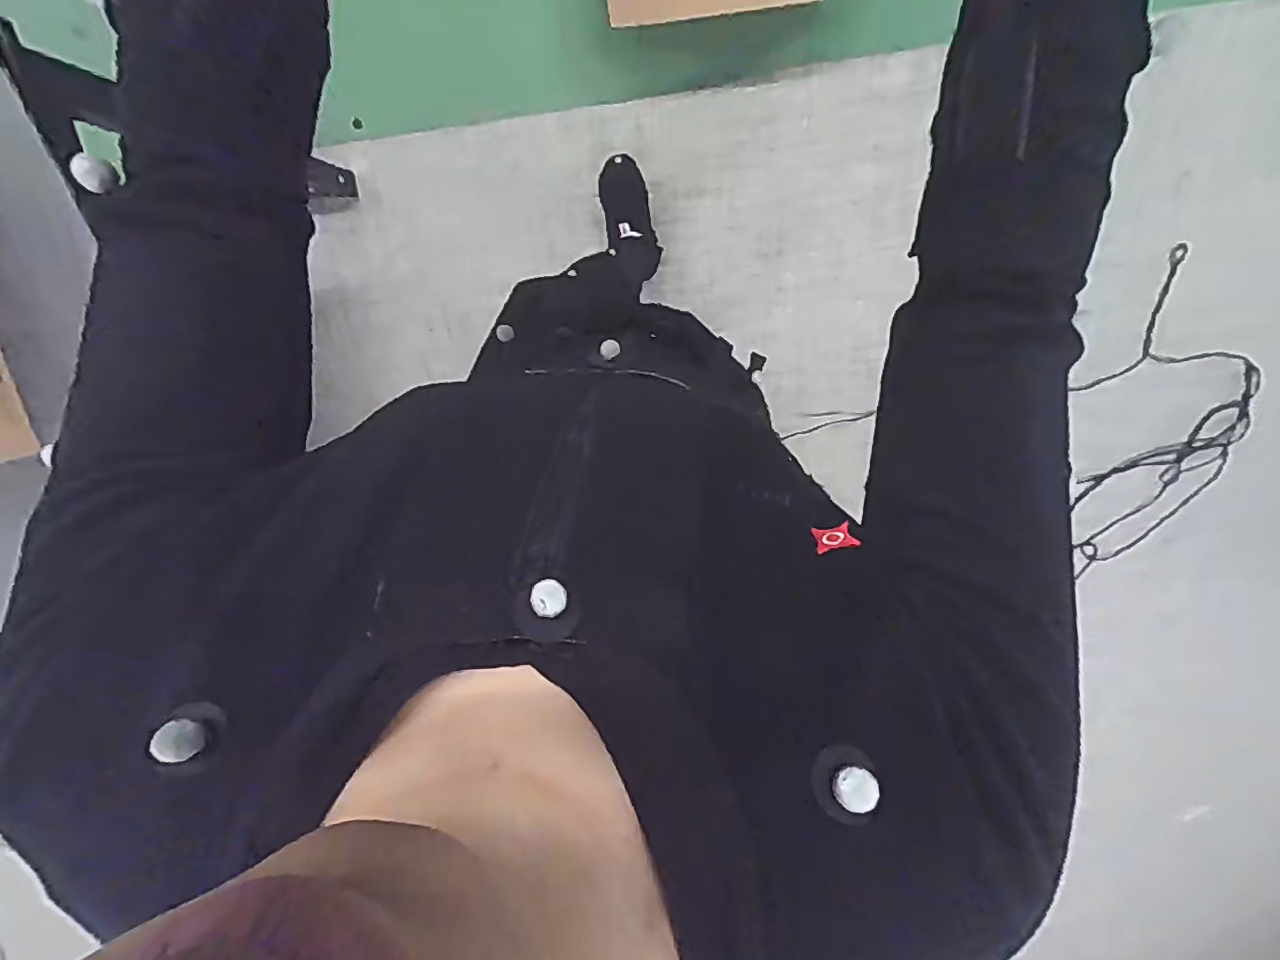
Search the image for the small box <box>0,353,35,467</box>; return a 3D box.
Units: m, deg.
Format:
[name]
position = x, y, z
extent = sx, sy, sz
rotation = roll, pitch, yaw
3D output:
[small box]
position = -0.904, -0.077, 0.636
extent = 0.179, 0.176, 0.168
rotation = -1, 109, 2
